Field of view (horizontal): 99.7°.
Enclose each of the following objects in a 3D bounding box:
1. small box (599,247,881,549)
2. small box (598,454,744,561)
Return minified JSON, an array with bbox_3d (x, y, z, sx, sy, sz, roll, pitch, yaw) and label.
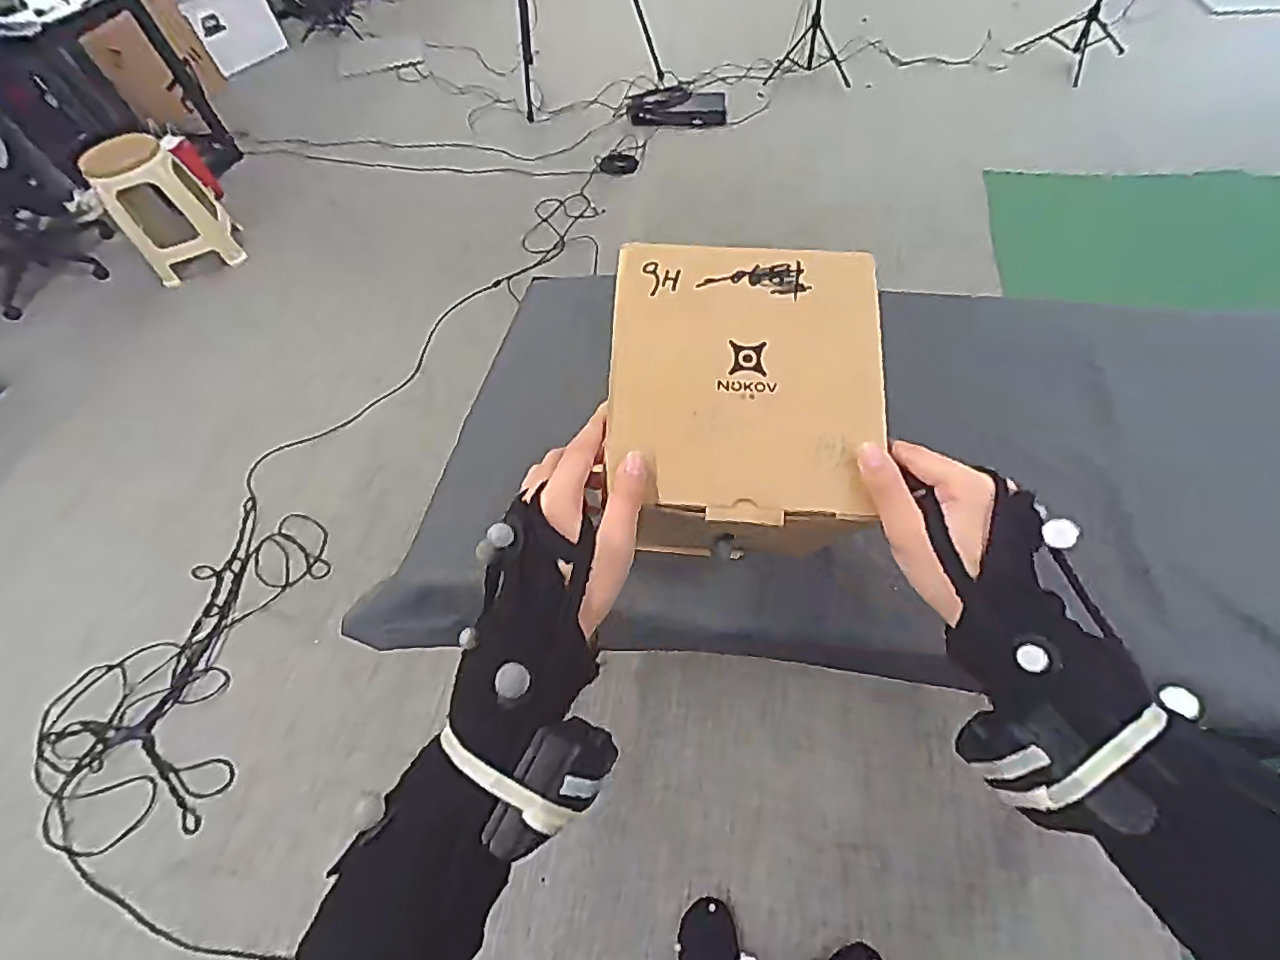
[{"bbox_3d":[0.064,-0.045,0.408,0.168,0.176,0.179,3,76,1],"label":"small box"},{"bbox_3d":[0.052,-0.022,0.658,0.168,0.176,0.179,4,57,8],"label":"small box"}]
